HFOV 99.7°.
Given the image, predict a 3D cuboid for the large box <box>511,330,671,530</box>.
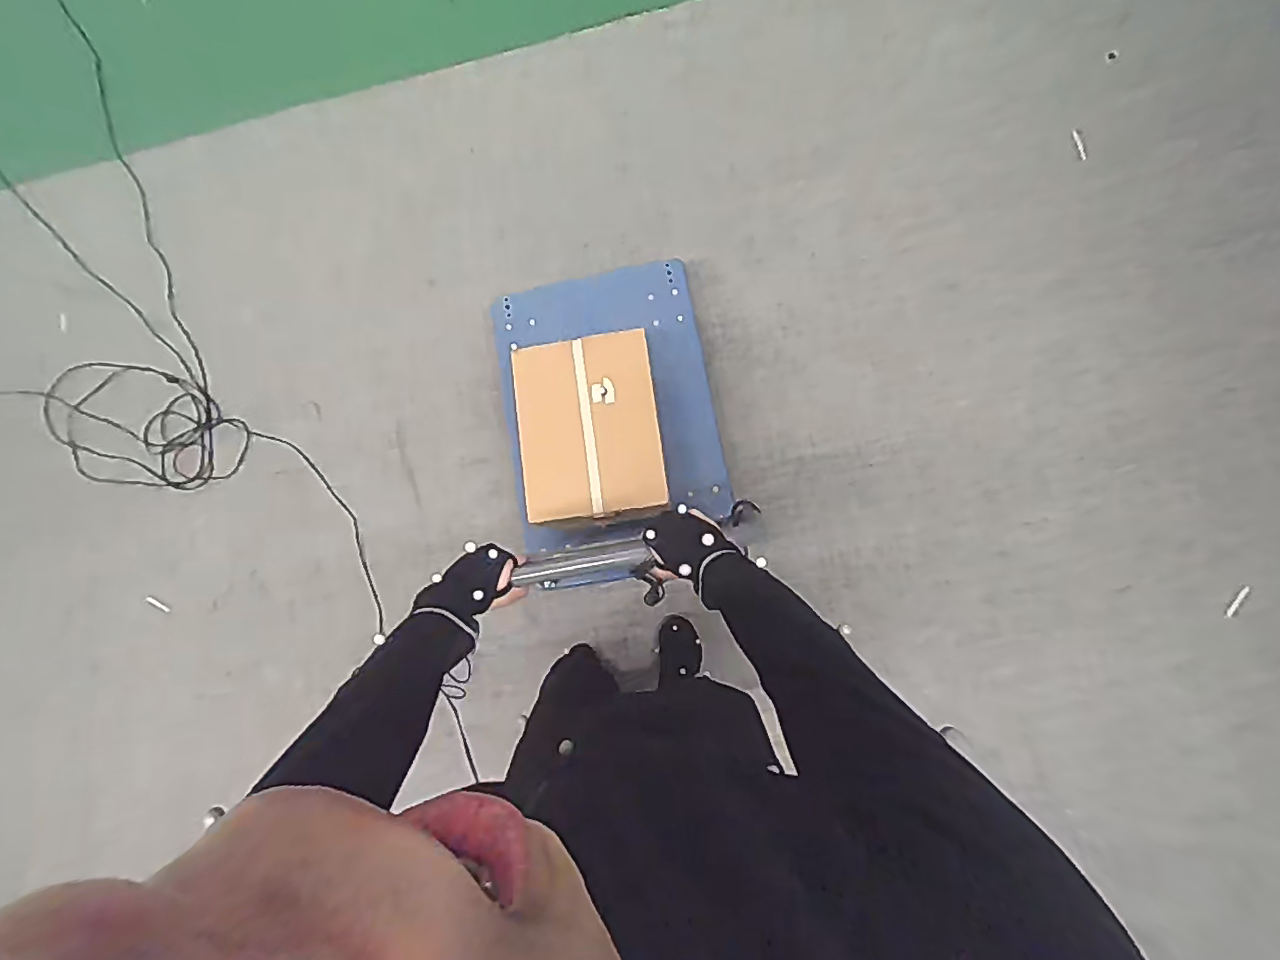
[{"bbox_3d":[-0.107,-0.102,1.350,0.320,0.320,0.408,-8,80,3],"label":"large box"}]
